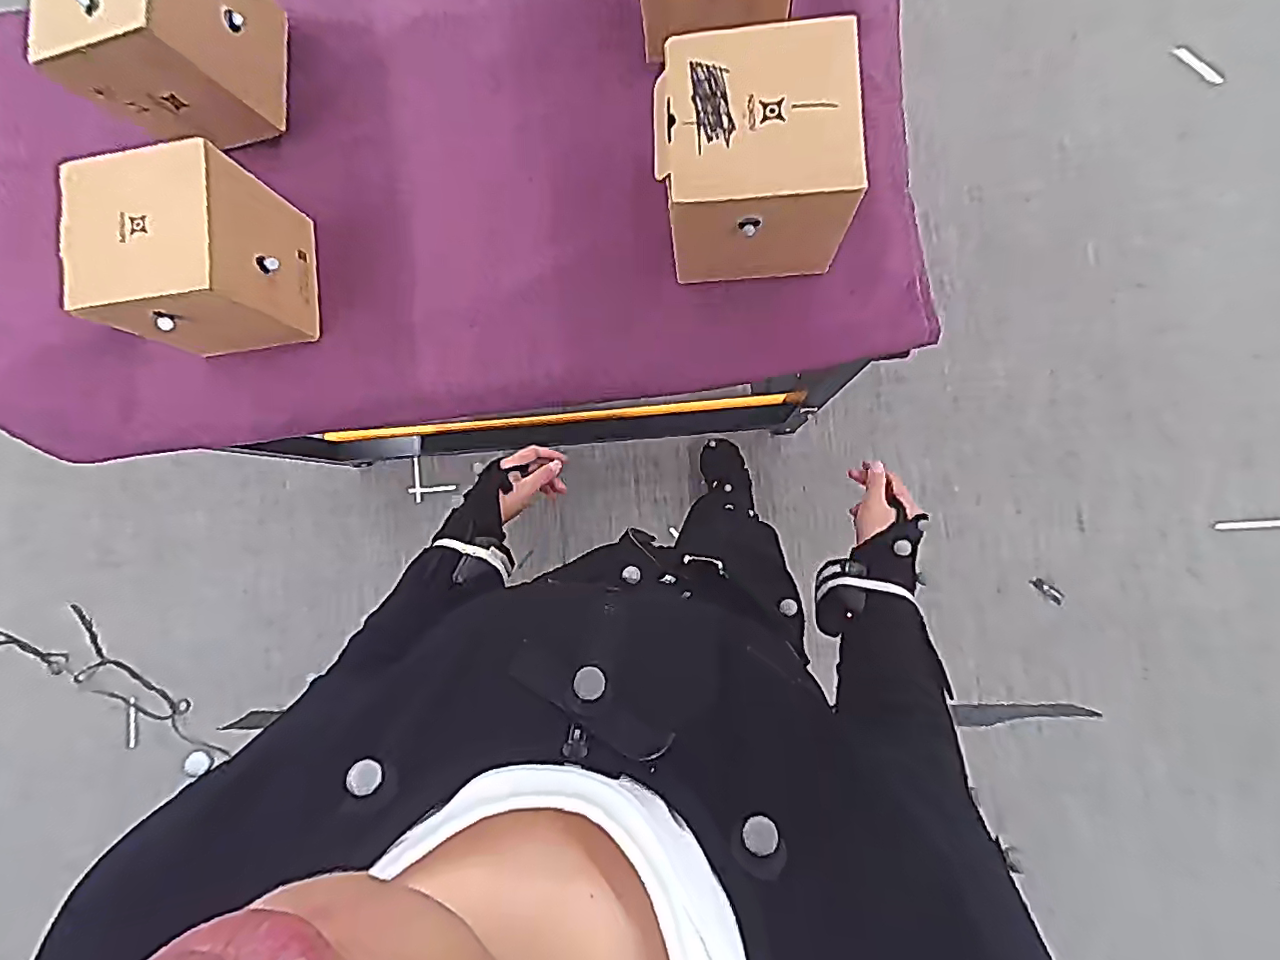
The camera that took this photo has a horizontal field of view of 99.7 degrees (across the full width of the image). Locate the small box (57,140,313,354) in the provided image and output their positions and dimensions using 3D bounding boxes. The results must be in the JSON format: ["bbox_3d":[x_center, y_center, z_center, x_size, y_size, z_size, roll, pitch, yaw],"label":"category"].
[{"bbox_3d":[-0.518,-0.259,0.641,0.179,0.176,0.168,-6,86,6],"label":"small box"}]

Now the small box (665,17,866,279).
[{"bbox_3d":[0.121,-0.326,0.567,0.179,0.176,0.168,-2,85,6],"label":"small box"}]

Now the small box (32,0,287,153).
[{"bbox_3d":[-0.563,-0.531,0.648,0.179,0.168,0.176,-2,86,14],"label":"small box"}]
